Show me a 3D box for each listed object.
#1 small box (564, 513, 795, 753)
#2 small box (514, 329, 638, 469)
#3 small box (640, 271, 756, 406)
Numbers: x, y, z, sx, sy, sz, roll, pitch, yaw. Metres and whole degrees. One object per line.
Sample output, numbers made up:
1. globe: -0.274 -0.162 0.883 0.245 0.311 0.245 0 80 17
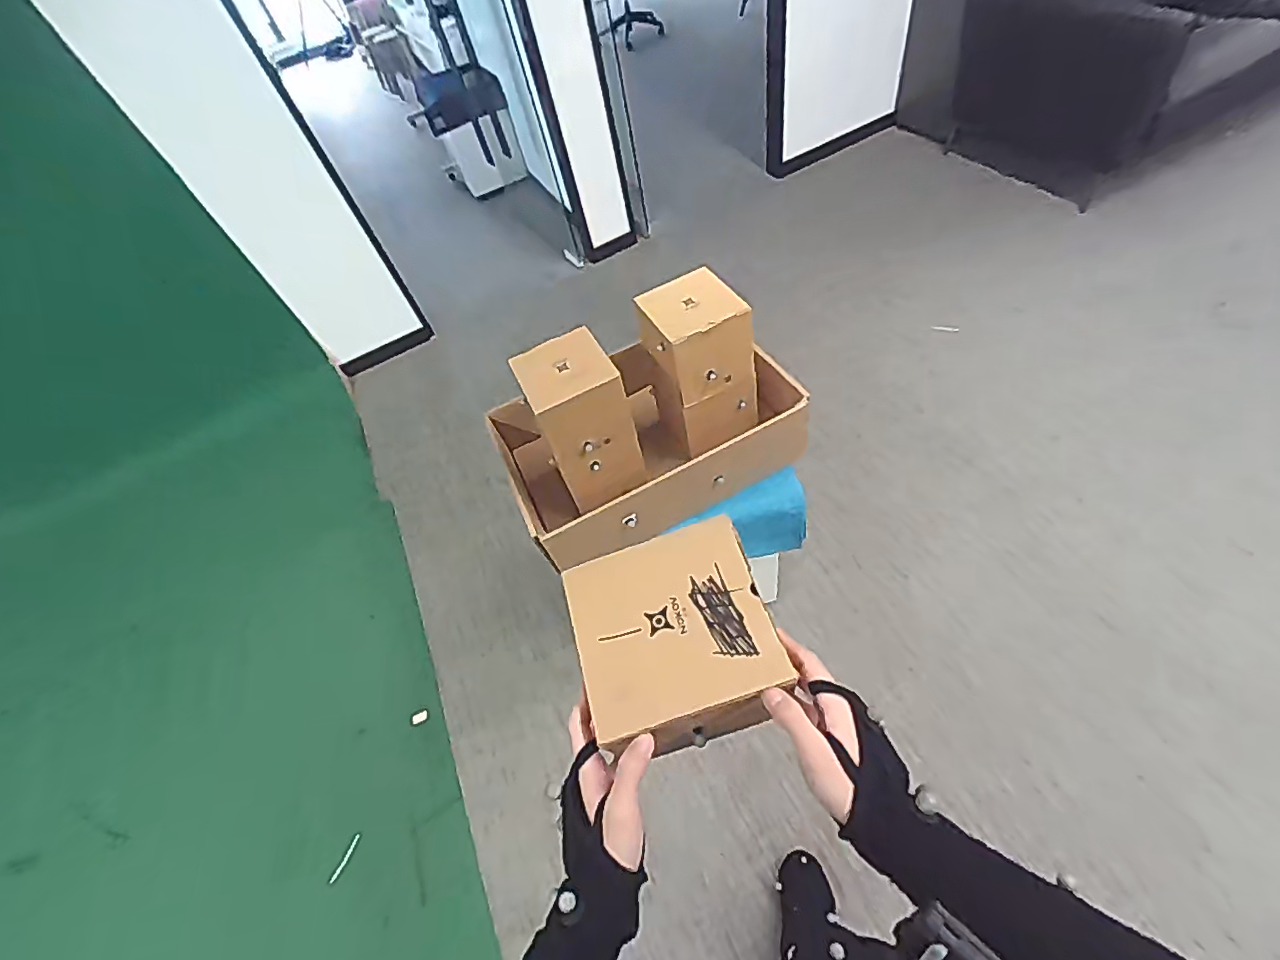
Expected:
1. small box: 0.041 0.164 0.555 0.179 0.176 0.168 -19 56 1
2. small box: -0.120 -0.154 1.045 0.168 0.176 0.179 -26 52 -7
3. small box: 0.118 -0.281 1.083 0.168 0.176 0.179 -26 52 -6
